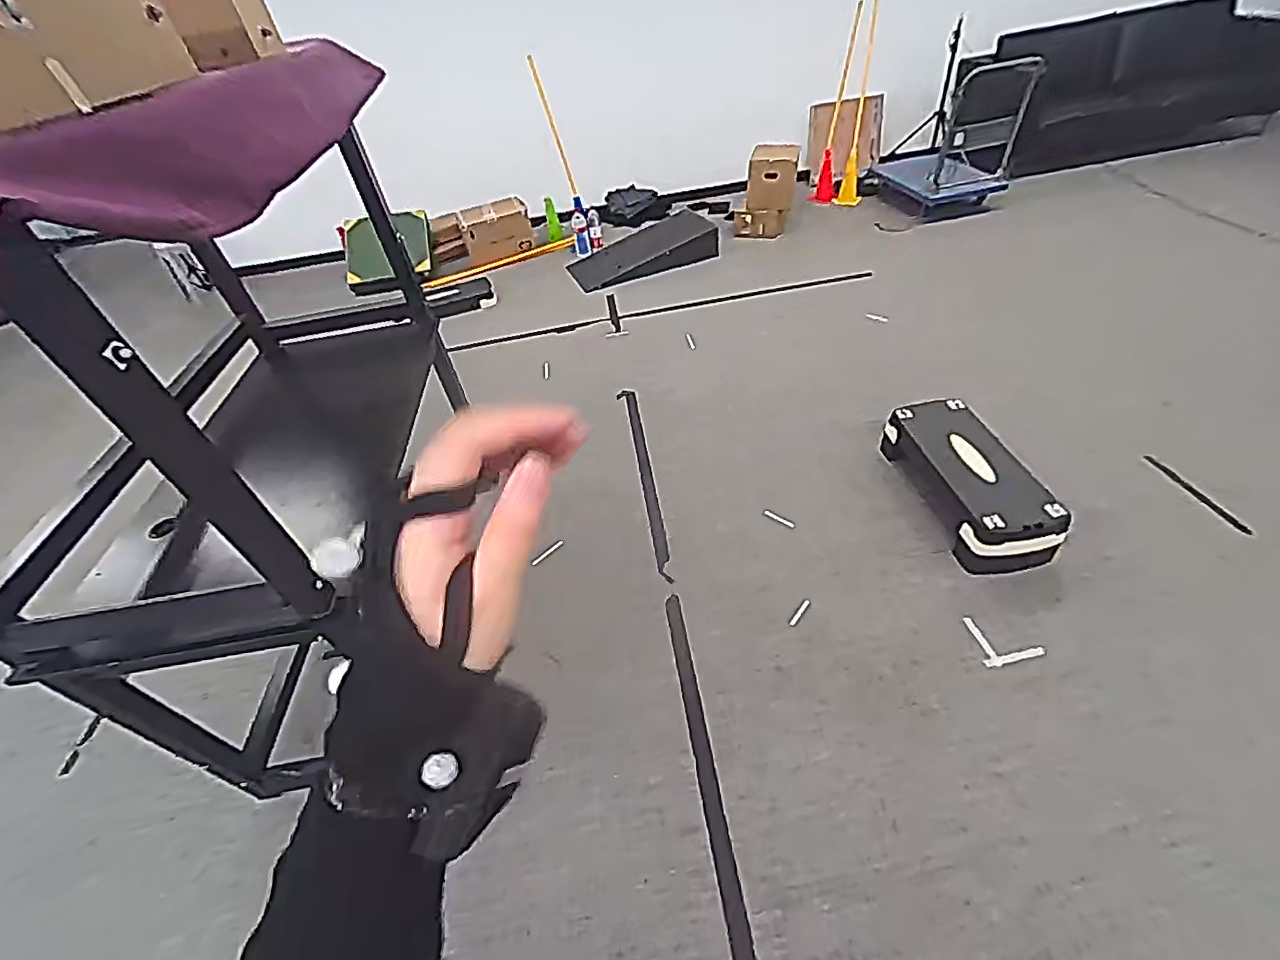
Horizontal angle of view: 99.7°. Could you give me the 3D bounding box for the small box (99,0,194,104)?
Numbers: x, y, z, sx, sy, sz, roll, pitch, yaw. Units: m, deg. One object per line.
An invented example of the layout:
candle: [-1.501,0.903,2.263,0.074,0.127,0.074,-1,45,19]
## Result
small box: [-0.861,-0.693,0.848,0.168,0.176,0.179,-10,44,1]

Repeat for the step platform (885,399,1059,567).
step platform: [1.129,-0.025,1.909,0.286,0.204,0.684,-7,42,3]

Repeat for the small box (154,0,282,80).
small box: [-0.881,-0.943,1.113,0.168,0.176,0.179,-12,43,-1]
